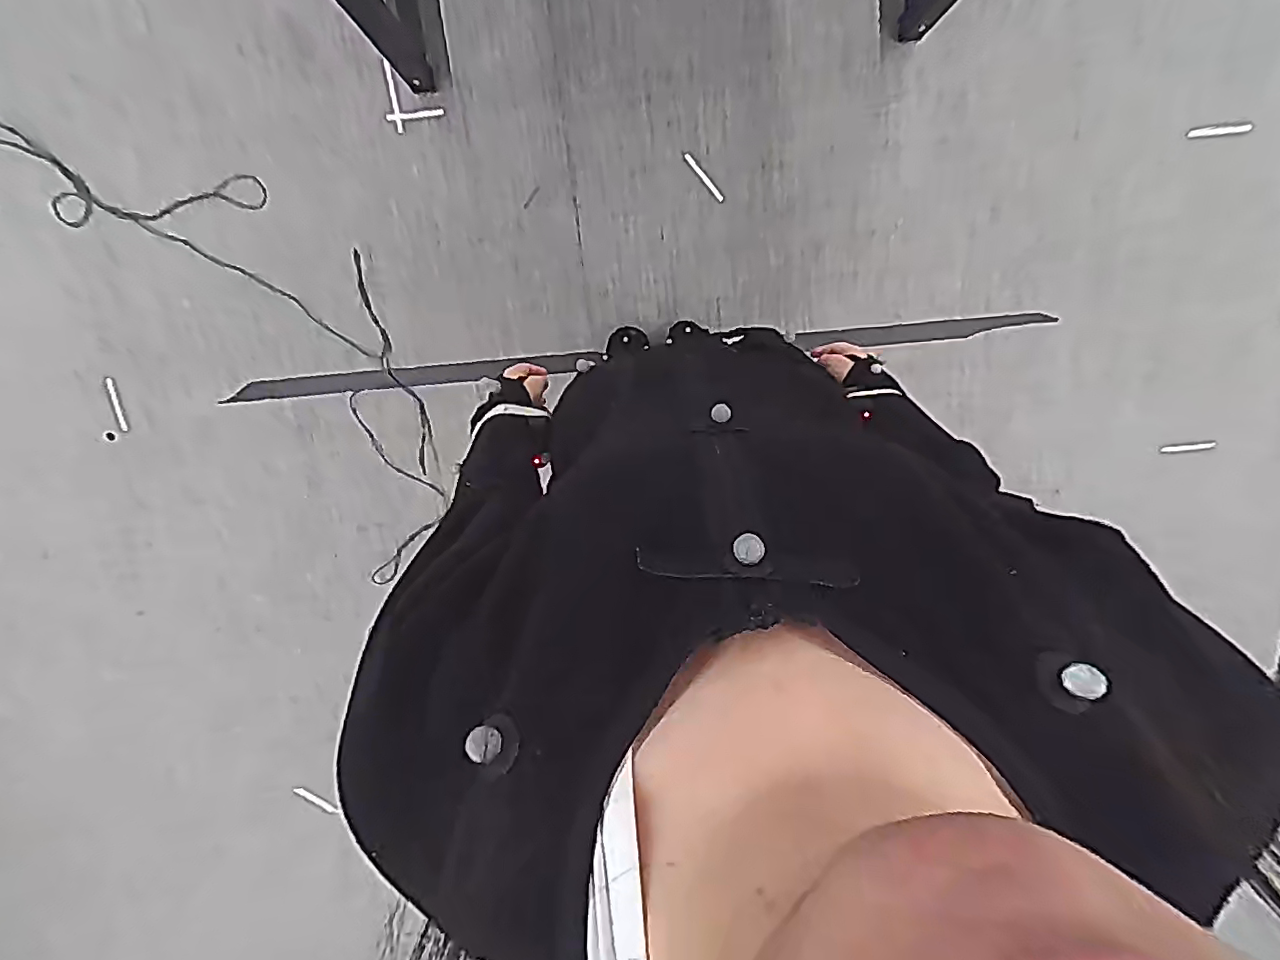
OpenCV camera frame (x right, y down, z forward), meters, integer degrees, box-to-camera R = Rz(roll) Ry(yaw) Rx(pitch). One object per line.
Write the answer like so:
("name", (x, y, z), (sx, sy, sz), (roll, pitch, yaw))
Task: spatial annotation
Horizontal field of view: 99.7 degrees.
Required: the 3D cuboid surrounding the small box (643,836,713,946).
("small box", (0.103, 1.150, 1.520), (0.168, 0.176, 0.179), (-10, 105, 0))
